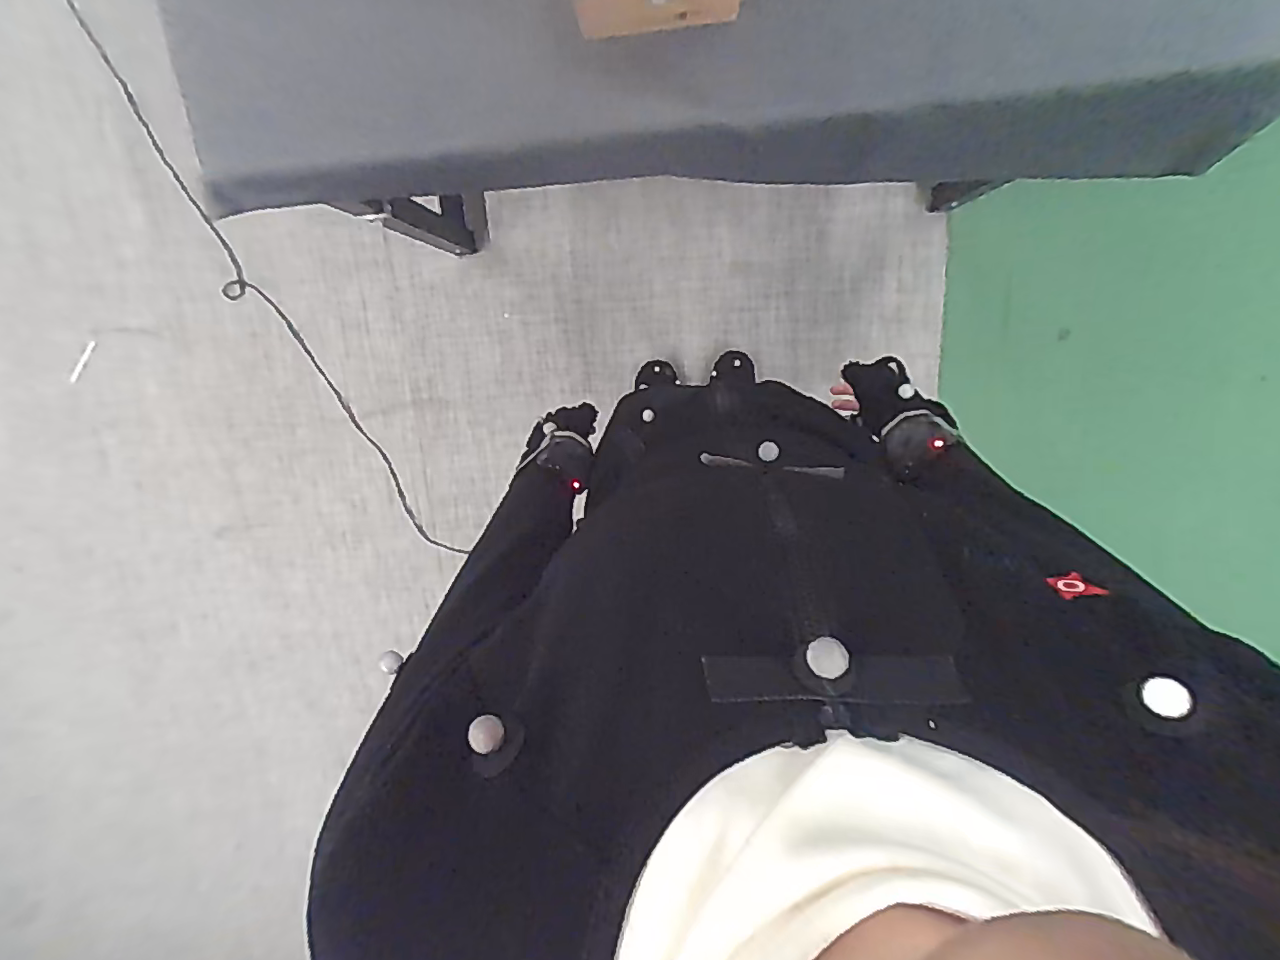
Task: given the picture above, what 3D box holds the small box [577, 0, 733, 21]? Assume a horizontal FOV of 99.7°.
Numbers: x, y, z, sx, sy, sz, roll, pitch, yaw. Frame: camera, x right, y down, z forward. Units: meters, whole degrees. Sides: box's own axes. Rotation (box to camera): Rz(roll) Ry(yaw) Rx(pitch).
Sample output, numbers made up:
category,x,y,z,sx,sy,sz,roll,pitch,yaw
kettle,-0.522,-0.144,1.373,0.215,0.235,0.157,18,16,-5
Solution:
category,x,y,z,sx,sy,sz,roll,pitch,yaw
small box,0.008,-0.543,0.471,0.168,0.176,0.179,-5,105,4
